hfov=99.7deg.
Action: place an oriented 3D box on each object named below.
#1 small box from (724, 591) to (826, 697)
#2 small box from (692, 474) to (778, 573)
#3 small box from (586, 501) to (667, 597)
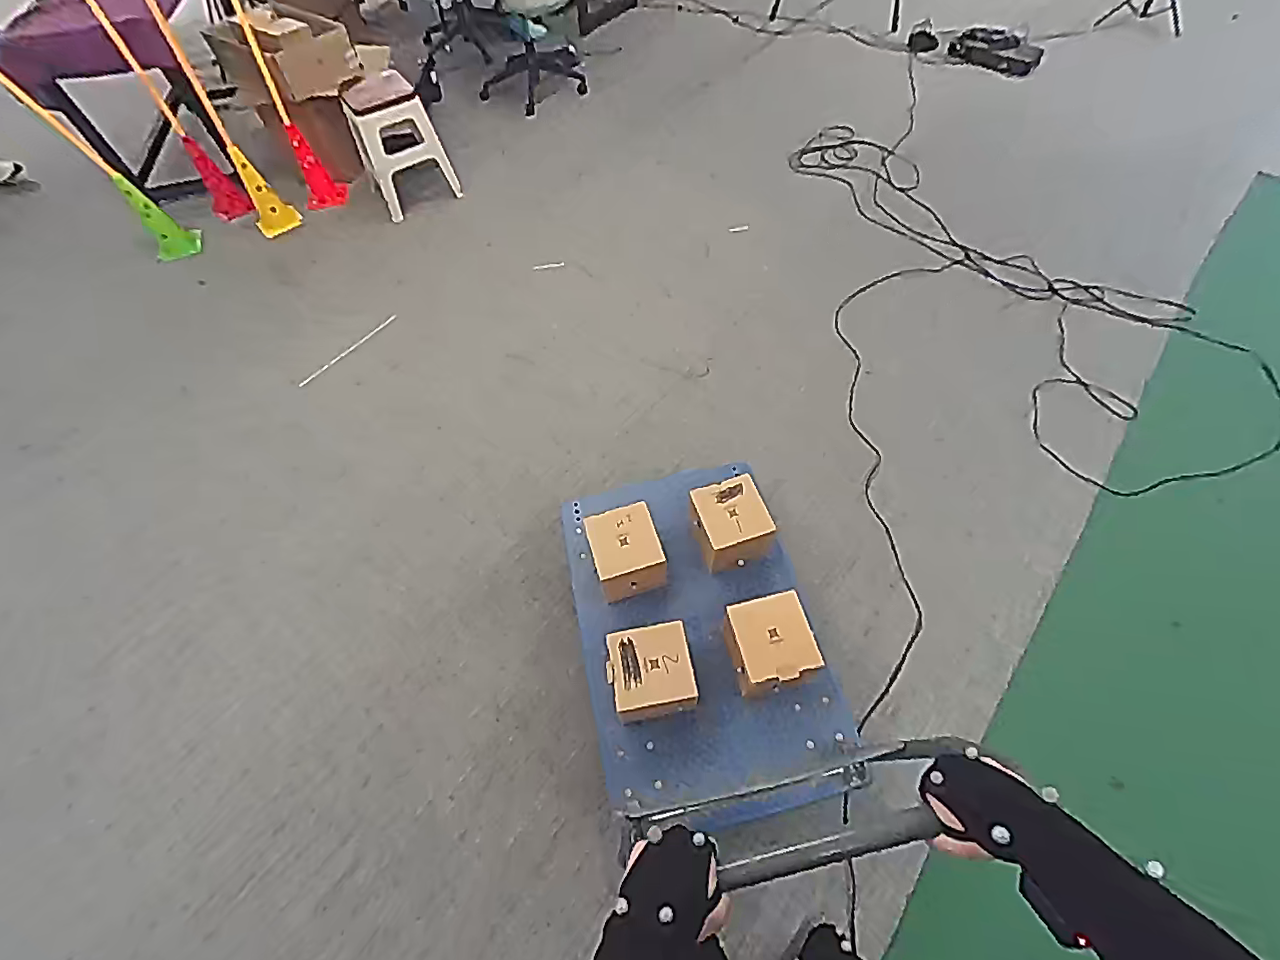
[{"bbox_3d":[0.300,0.381,1.247,0.168,0.176,0.179,-13,59,-4],"label":"small box"},{"bbox_3d":[0.238,0.116,1.409,0.168,0.176,0.179,-17,60,-6],"label":"small box"},{"bbox_3d":[-0.032,0.184,1.383,0.168,0.176,0.179,-15,59,-7],"label":"small box"}]
